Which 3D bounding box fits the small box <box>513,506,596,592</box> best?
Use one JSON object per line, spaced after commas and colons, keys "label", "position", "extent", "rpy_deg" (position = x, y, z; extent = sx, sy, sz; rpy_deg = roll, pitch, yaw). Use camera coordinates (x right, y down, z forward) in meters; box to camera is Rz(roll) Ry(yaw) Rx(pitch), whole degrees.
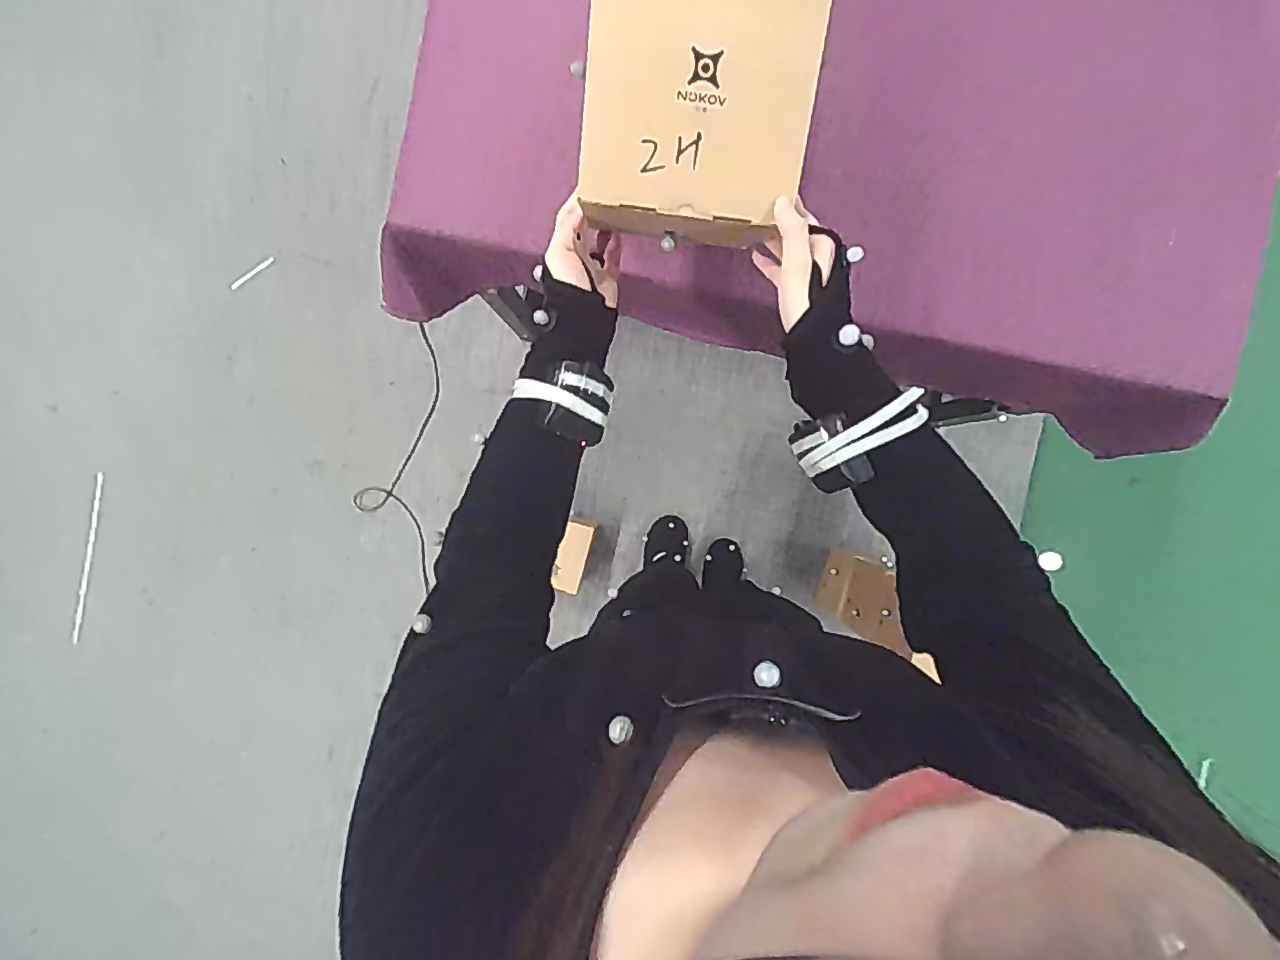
{"label": "small box", "position": [-0.216, 0.174, 1.417], "extent": [0.168, 0.176, 0.179], "rpy_deg": [15, 90, -1]}

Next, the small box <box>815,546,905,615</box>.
{"label": "small box", "position": [0.584, 0.277, 1.423], "extent": [0.179, 0.176, 0.168], "rpy_deg": [16, 91, -1]}

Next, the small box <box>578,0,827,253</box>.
{"label": "small box", "position": [0.039, -0.305, 0.464], "extent": [0.168, 0.176, 0.179], "rpy_deg": [5, 108, -3]}

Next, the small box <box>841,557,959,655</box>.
{"label": "small box", "position": [0.593, 0.284, 1.260], "extent": [0.179, 0.176, 0.168], "rpy_deg": [13, 92, -2]}
